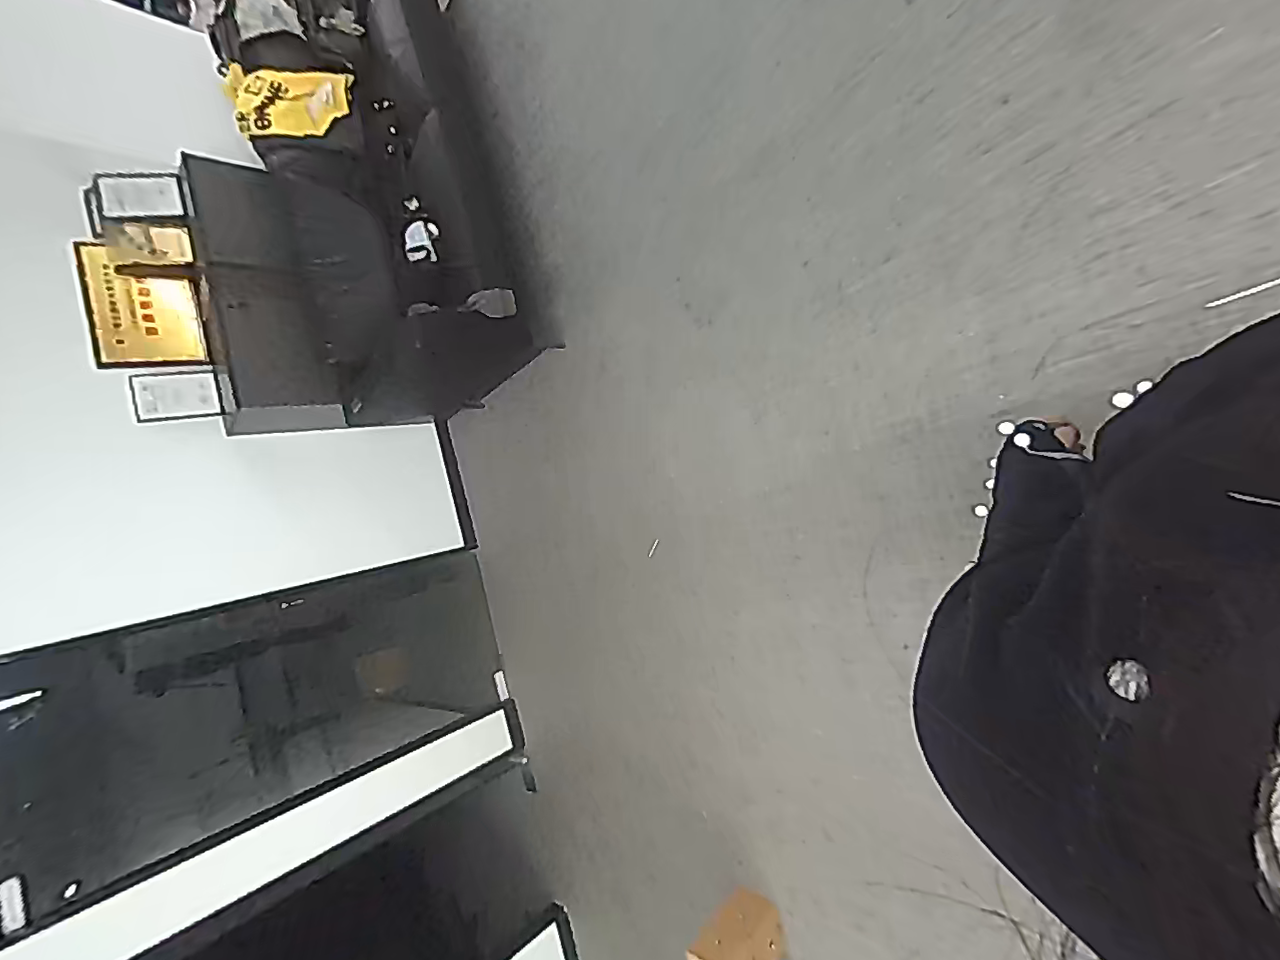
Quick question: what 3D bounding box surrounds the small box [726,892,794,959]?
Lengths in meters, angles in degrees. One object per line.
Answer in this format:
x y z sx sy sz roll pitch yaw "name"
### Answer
0.443 1.660 1.972 0.179 0.176 0.168 -11 89 47 "small box"
